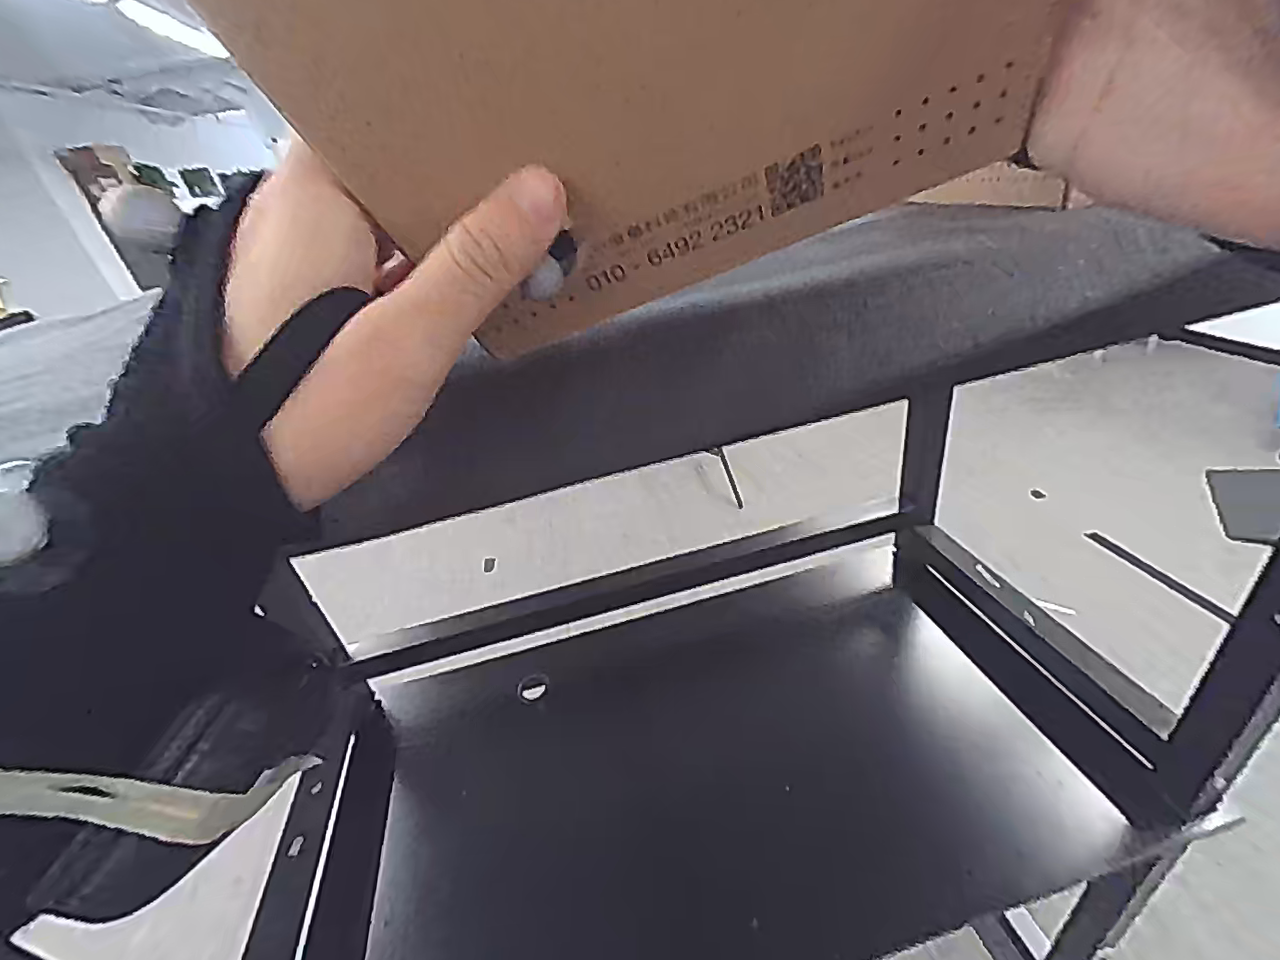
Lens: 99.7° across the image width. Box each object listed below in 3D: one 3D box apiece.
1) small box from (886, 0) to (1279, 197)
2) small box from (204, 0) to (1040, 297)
[{"bbox_3d":[0.267,-0.274,0.319,0.168,0.176,0.179,-15,30,-5],"label":"small box"},{"bbox_3d":[-0.013,-0.173,0.133,0.168,0.176,0.179,-18,57,12],"label":"small box"}]
